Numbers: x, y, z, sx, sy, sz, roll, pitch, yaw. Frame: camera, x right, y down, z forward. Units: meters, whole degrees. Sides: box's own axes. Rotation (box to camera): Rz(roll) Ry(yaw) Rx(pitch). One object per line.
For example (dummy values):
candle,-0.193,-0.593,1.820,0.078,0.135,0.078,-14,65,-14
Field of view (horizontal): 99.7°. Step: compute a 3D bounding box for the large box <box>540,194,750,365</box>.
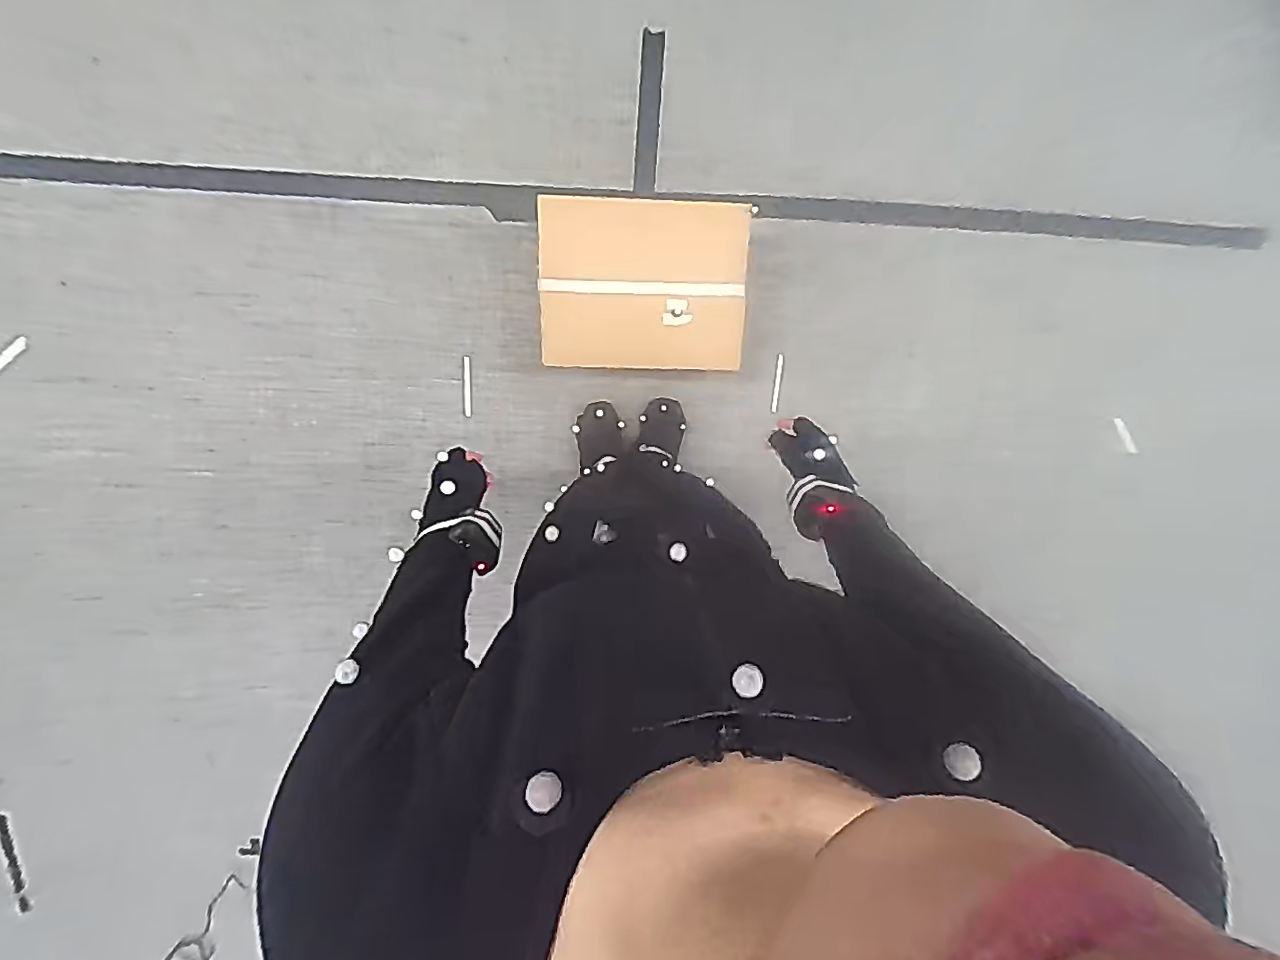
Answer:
large box,-0.002,-0.424,1.199,0.408,0.320,0.320,0,107,-5
